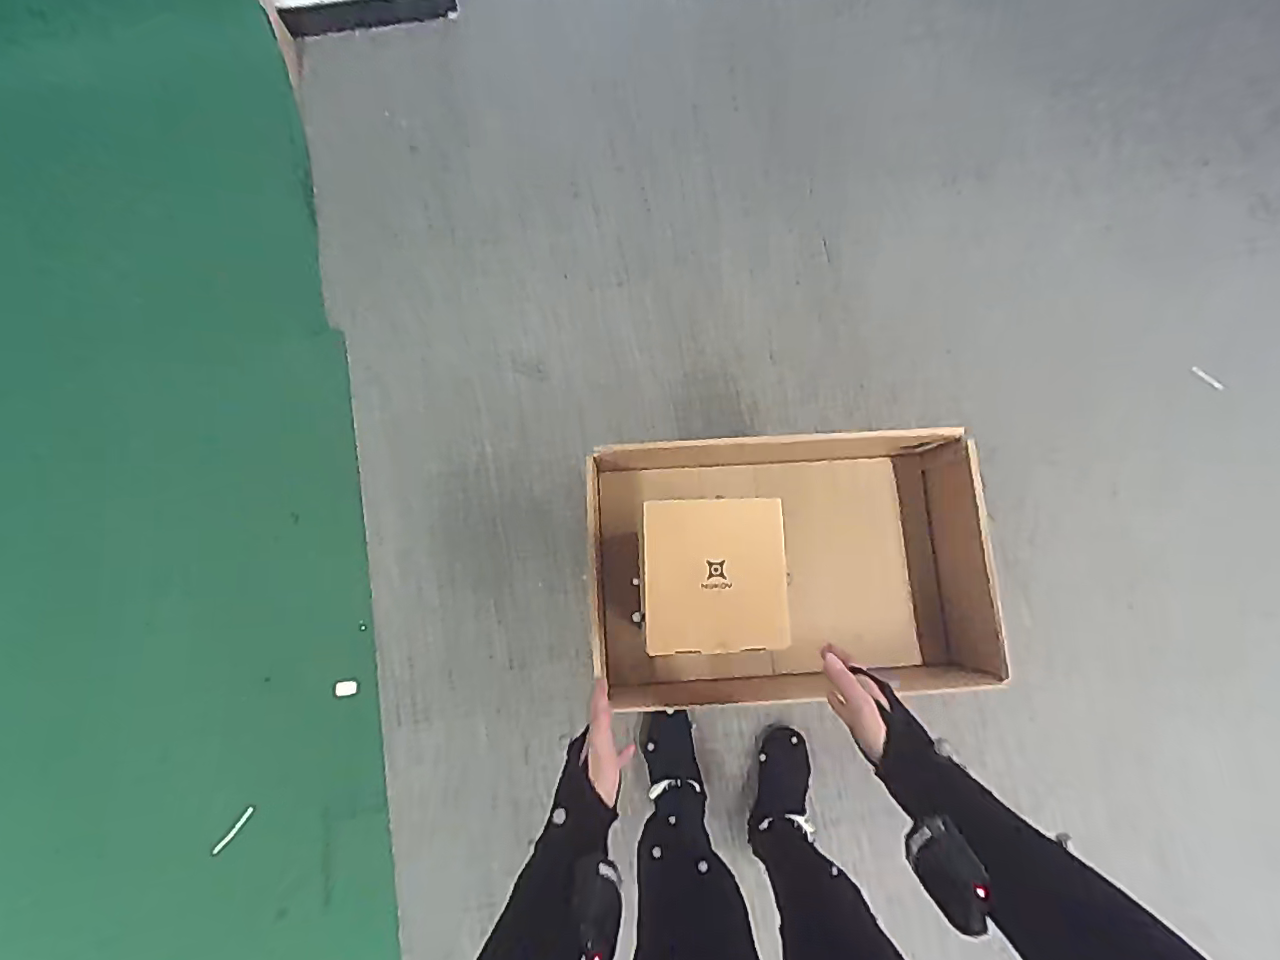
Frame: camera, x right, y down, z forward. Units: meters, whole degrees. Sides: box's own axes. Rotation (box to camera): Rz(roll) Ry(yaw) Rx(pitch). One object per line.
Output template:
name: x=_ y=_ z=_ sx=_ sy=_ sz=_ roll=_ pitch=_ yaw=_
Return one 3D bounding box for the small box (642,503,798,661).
small box: x=0.090 y=0.126 z=0.692 sx=0.168 sy=0.176 sz=0.179 roll=-1 pitch=82 yaw=-3
